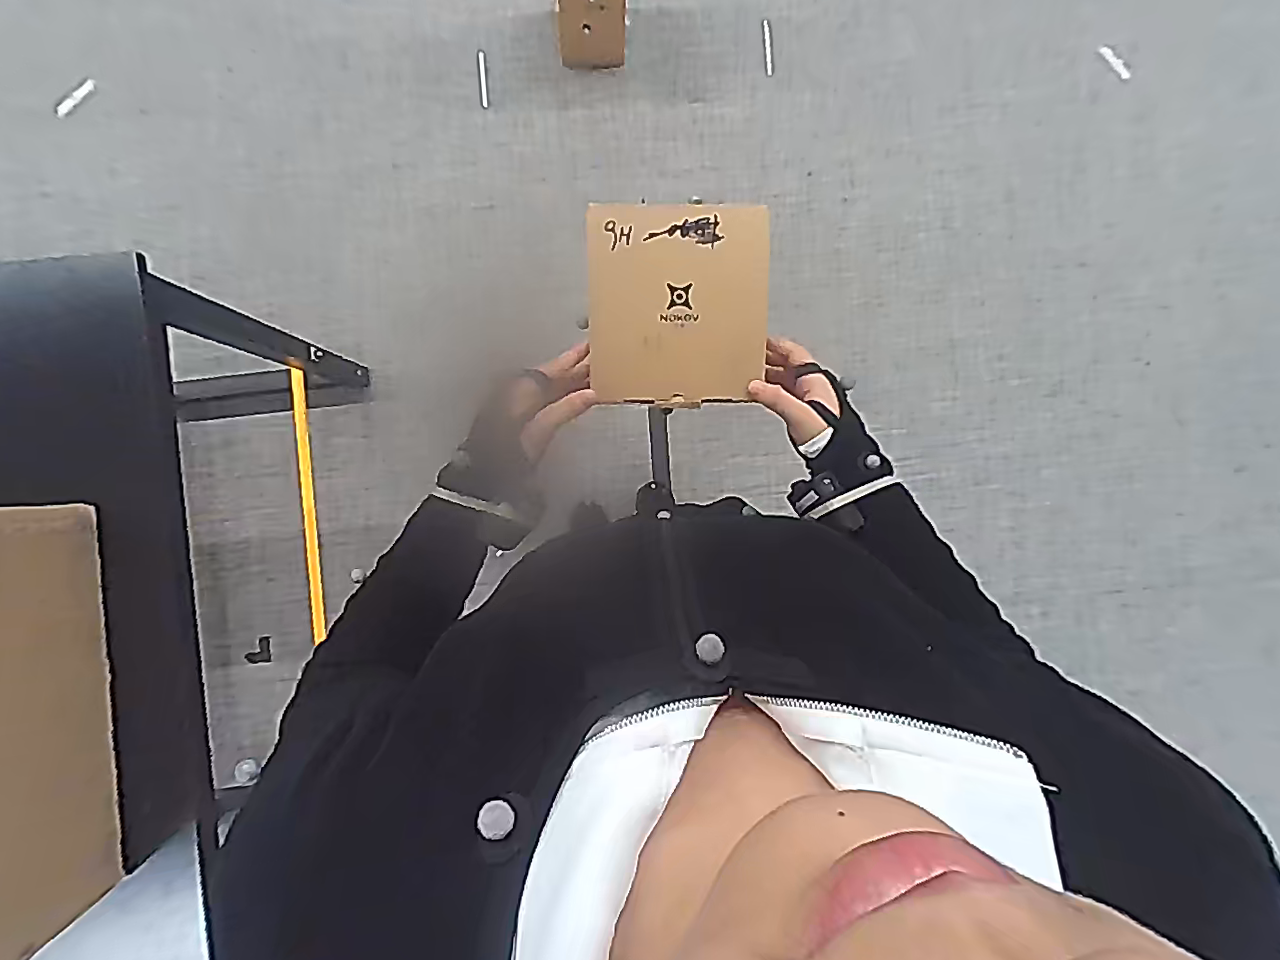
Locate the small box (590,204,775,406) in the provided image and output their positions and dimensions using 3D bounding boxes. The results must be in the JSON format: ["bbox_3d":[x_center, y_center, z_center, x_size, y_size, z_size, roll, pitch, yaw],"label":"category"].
[{"bbox_3d":[0.034,-0.173,0.569,0.168,0.176,0.179,-1,102,-3],"label":"small box"}]

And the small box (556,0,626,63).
[{"bbox_3d":[-0.125,-1.235,1.415,0.179,0.176,0.168,-1,91,-3],"label":"small box"}]

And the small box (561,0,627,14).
[{"bbox_3d":[-0.112,-1.240,1.251,0.168,0.176,0.179,-2,91,-2],"label":"small box"}]
